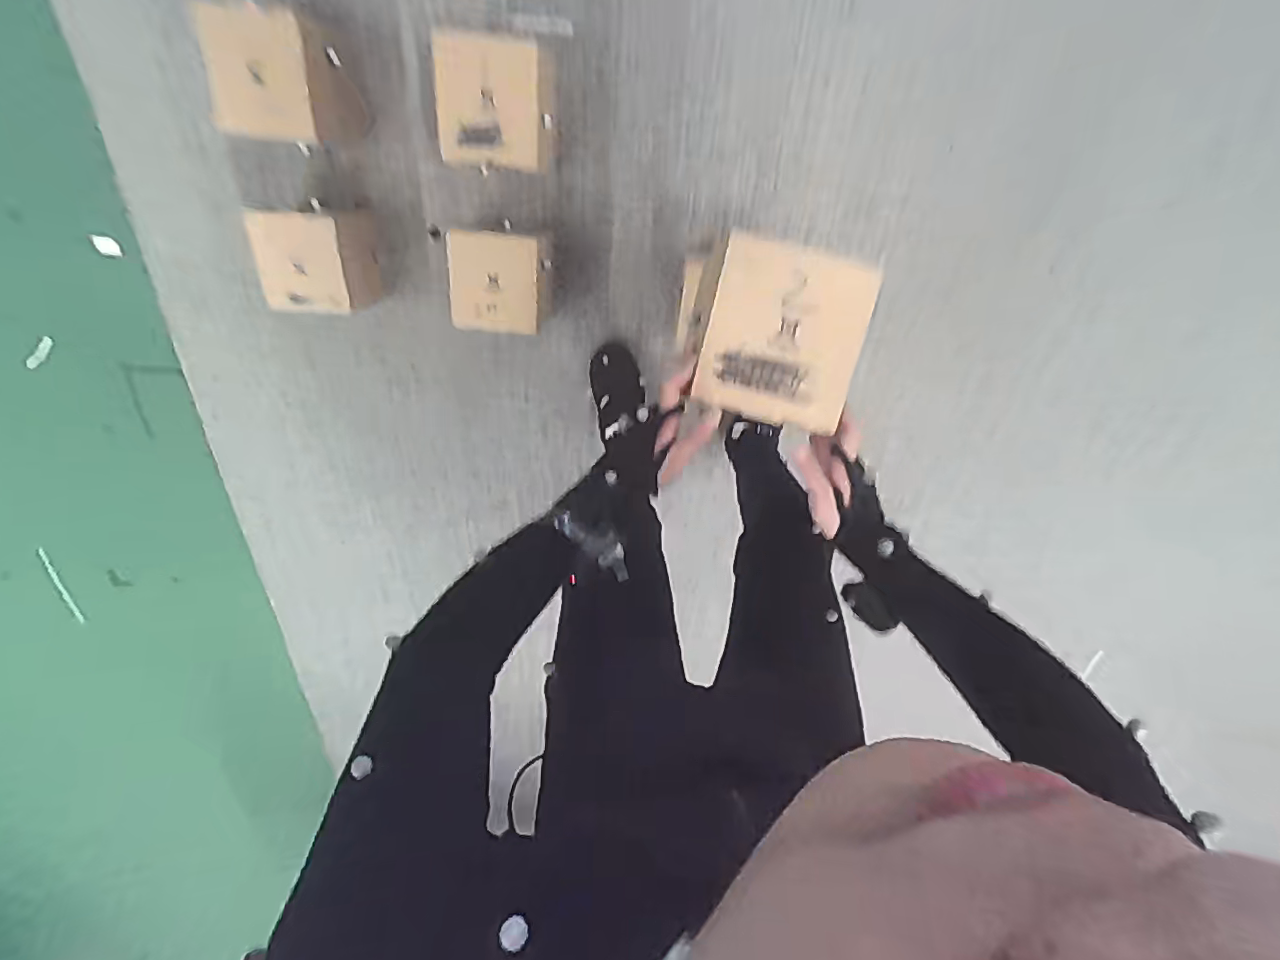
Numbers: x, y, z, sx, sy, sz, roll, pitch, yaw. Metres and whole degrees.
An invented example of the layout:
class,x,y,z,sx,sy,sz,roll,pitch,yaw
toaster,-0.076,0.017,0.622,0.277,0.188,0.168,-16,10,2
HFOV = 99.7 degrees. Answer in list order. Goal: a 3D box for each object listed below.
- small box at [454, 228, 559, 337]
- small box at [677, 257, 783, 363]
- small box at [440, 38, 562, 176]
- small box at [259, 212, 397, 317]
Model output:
class,x,y,z,sx,sy,sz,roll,pitch,yaw
small box,-0.261,-0.403,1.089,0.168,0.176,0.179,7,119,1
small box,0.171,-0.348,1.091,0.179,0.176,0.168,6,119,0
small box,-0.235,-0.644,0.953,0.168,0.176,0.179,7,119,0
small box,-0.617,-0.441,1.094,0.168,0.176,0.179,5,118,2
